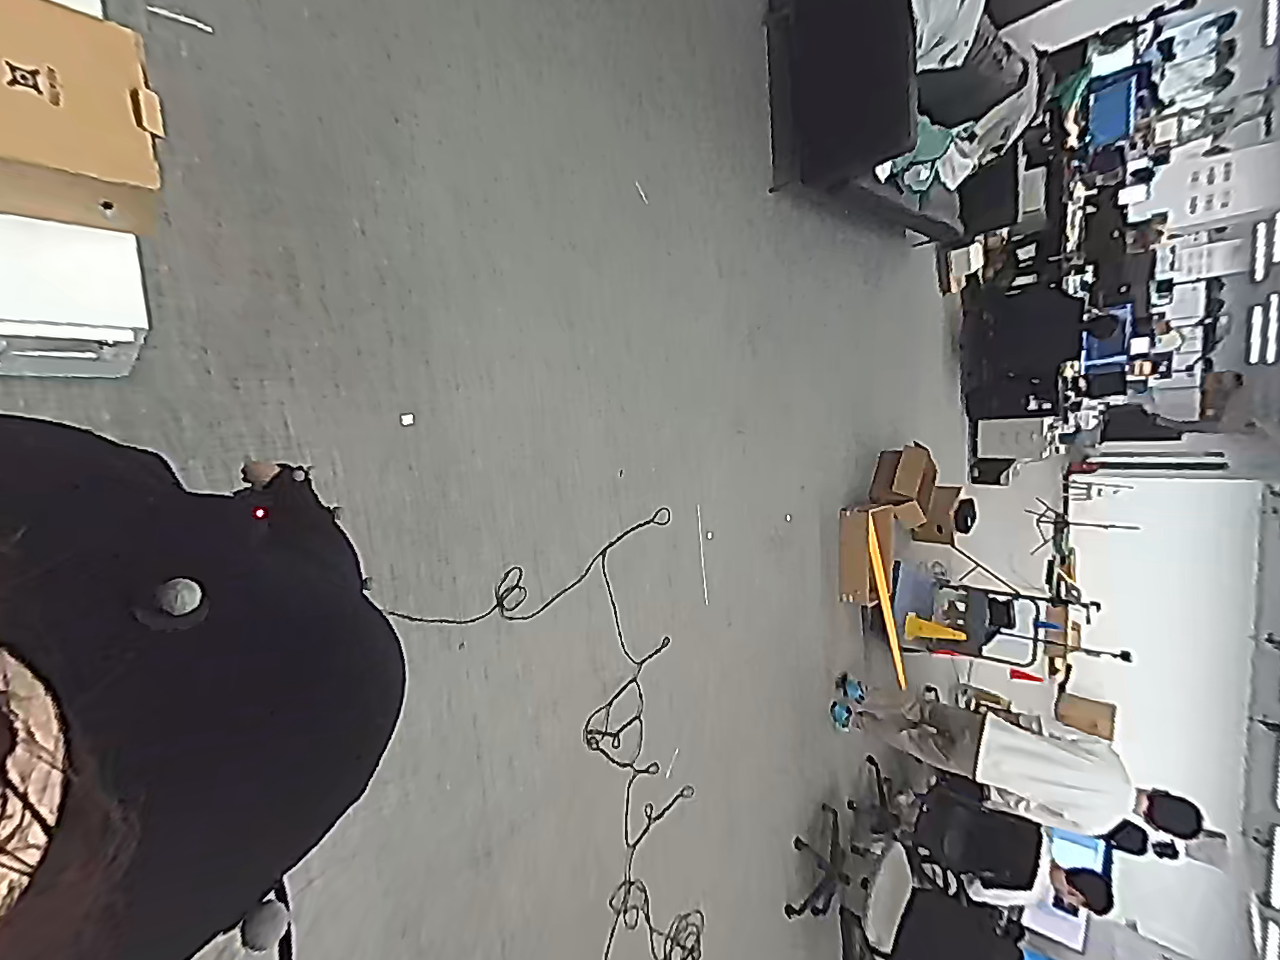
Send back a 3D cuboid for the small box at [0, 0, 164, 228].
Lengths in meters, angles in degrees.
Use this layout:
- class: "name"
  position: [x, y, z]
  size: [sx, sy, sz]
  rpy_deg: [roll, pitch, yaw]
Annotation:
- class: "small box"
  position: [-0.638, -0.388, 0.575]
  size: [0.179, 0.176, 0.168]
  rpy_deg: [-9, 97, -43]
